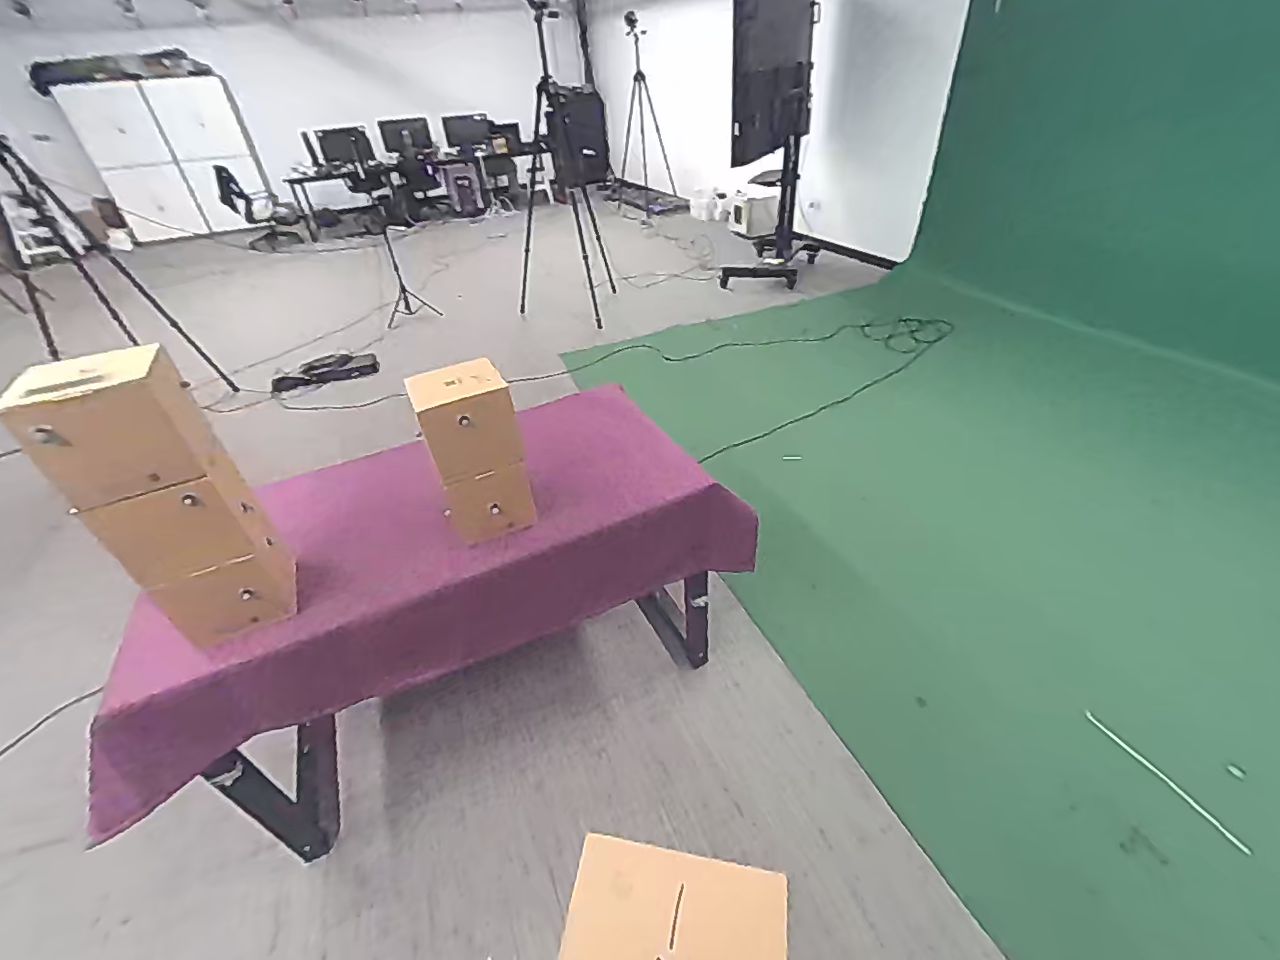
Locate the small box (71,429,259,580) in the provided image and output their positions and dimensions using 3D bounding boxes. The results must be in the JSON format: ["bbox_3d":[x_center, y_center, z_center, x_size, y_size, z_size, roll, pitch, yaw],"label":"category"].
[{"bbox_3d":[-0.788,0.041,0.921,0.179,0.176,0.168,-20,40,-22],"label":"small box"}]

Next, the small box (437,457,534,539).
[{"bbox_3d":[-0.345,0.008,1.190,0.168,0.176,0.179,-19,40,-19],"label":"small box"}]

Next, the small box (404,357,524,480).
[{"bbox_3d":[-0.352,-0.124,1.090,0.179,0.176,0.168,-19,40,-19],"label":"small box"}]

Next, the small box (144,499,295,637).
[{"bbox_3d":[-0.775,0.170,1.019,0.168,0.176,0.179,-19,39,-20],"label":"small box"}]
